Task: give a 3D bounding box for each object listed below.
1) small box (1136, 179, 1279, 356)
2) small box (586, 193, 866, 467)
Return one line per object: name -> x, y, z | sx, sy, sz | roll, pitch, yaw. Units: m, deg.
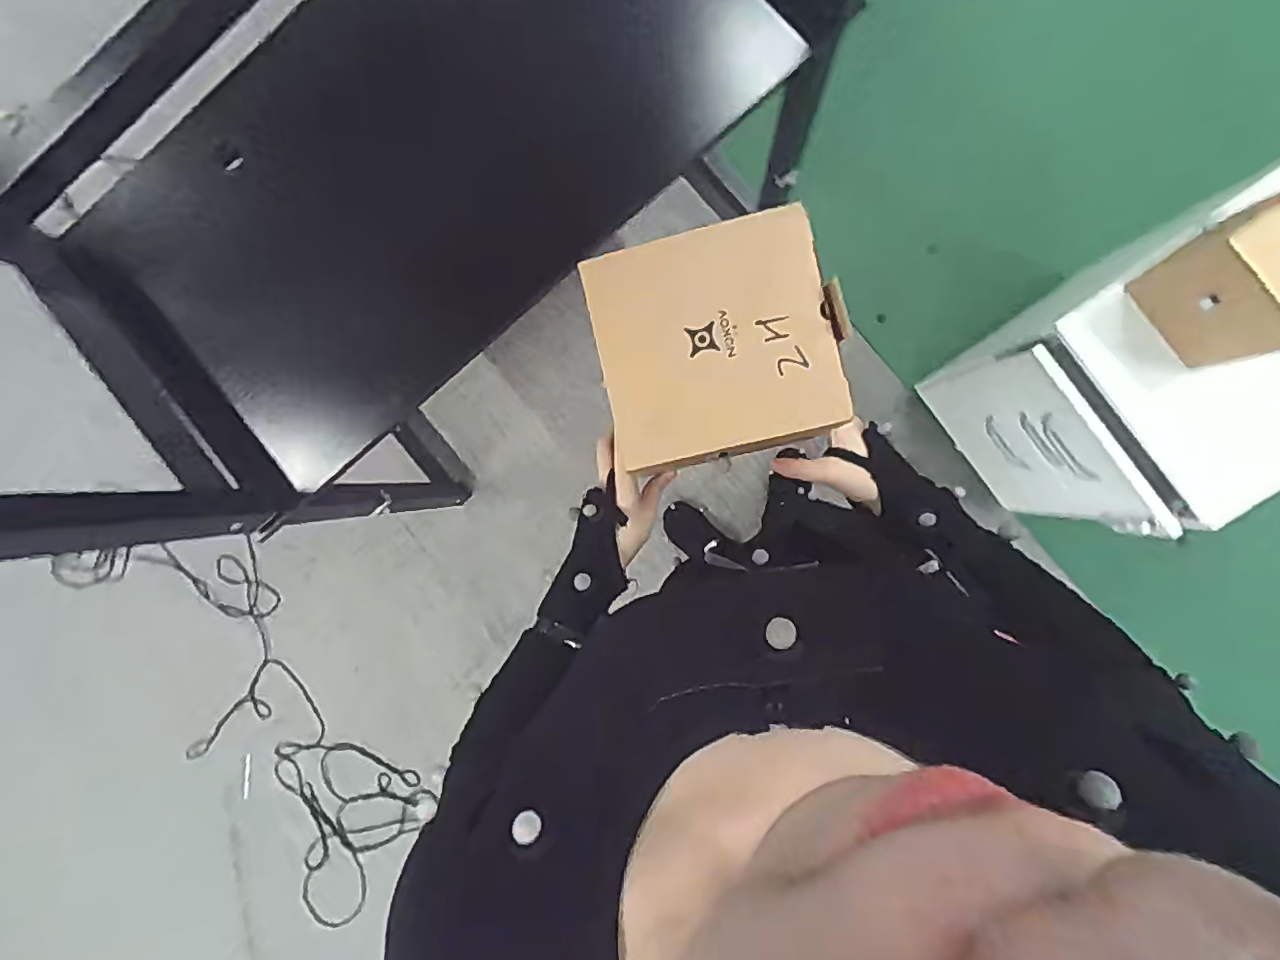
small box -> 0.856, -0.296, 0.739 | 0.168, 0.176, 0.179 | -37, 87, 5
small box -> 0.067, -0.107, 0.467 | 0.179, 0.176, 0.168 | -12, 90, 5
